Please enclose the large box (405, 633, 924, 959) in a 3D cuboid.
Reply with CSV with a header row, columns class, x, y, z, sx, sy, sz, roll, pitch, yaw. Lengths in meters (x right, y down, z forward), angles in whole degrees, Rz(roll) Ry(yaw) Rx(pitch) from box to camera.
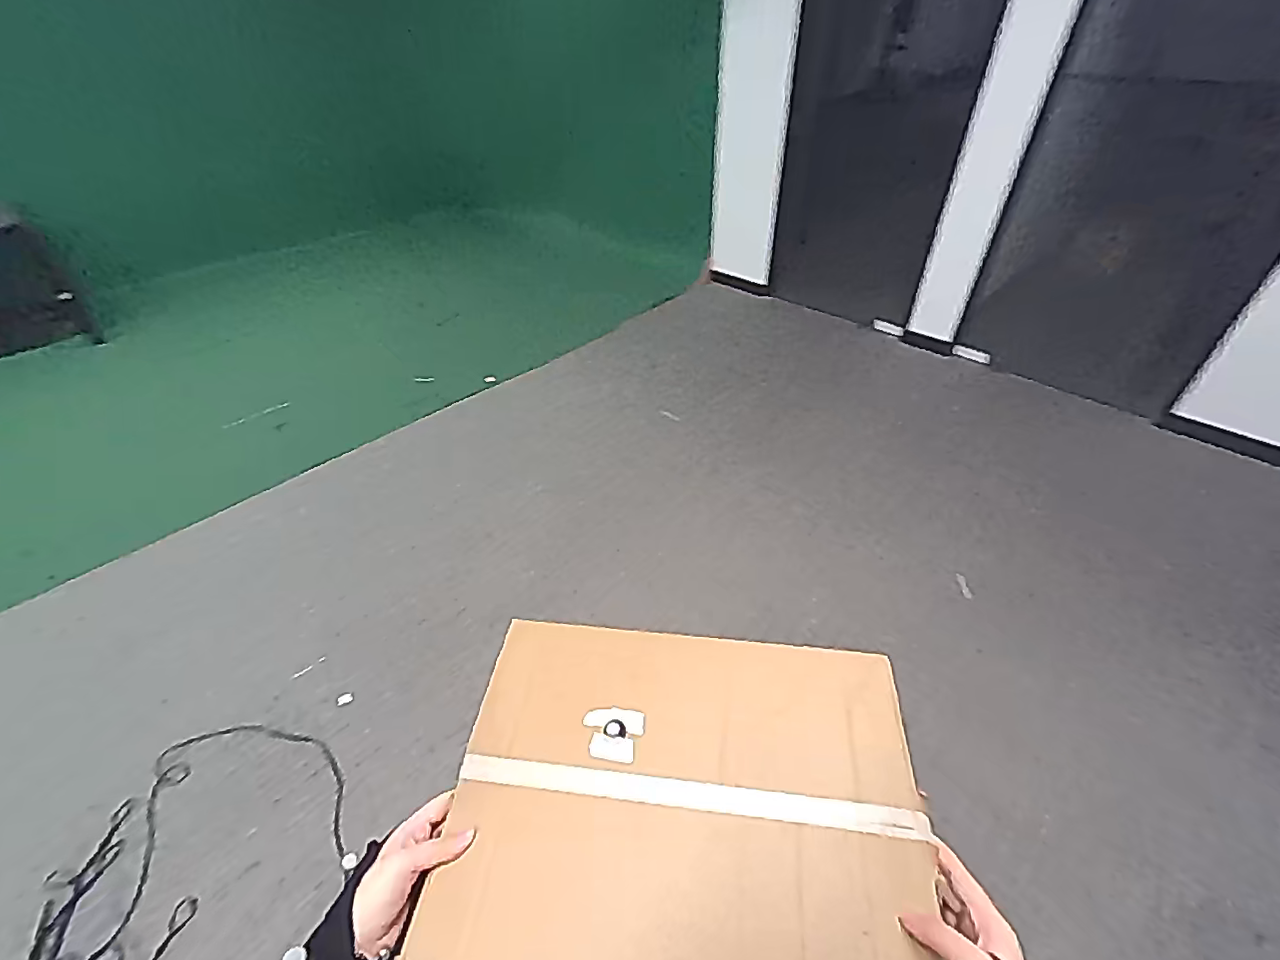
class,x,y,z,sx,sy,sz,roll,pitch,yaw
large box,0.039,0.390,0.594,0.408,0.320,0.320,1,45,8
